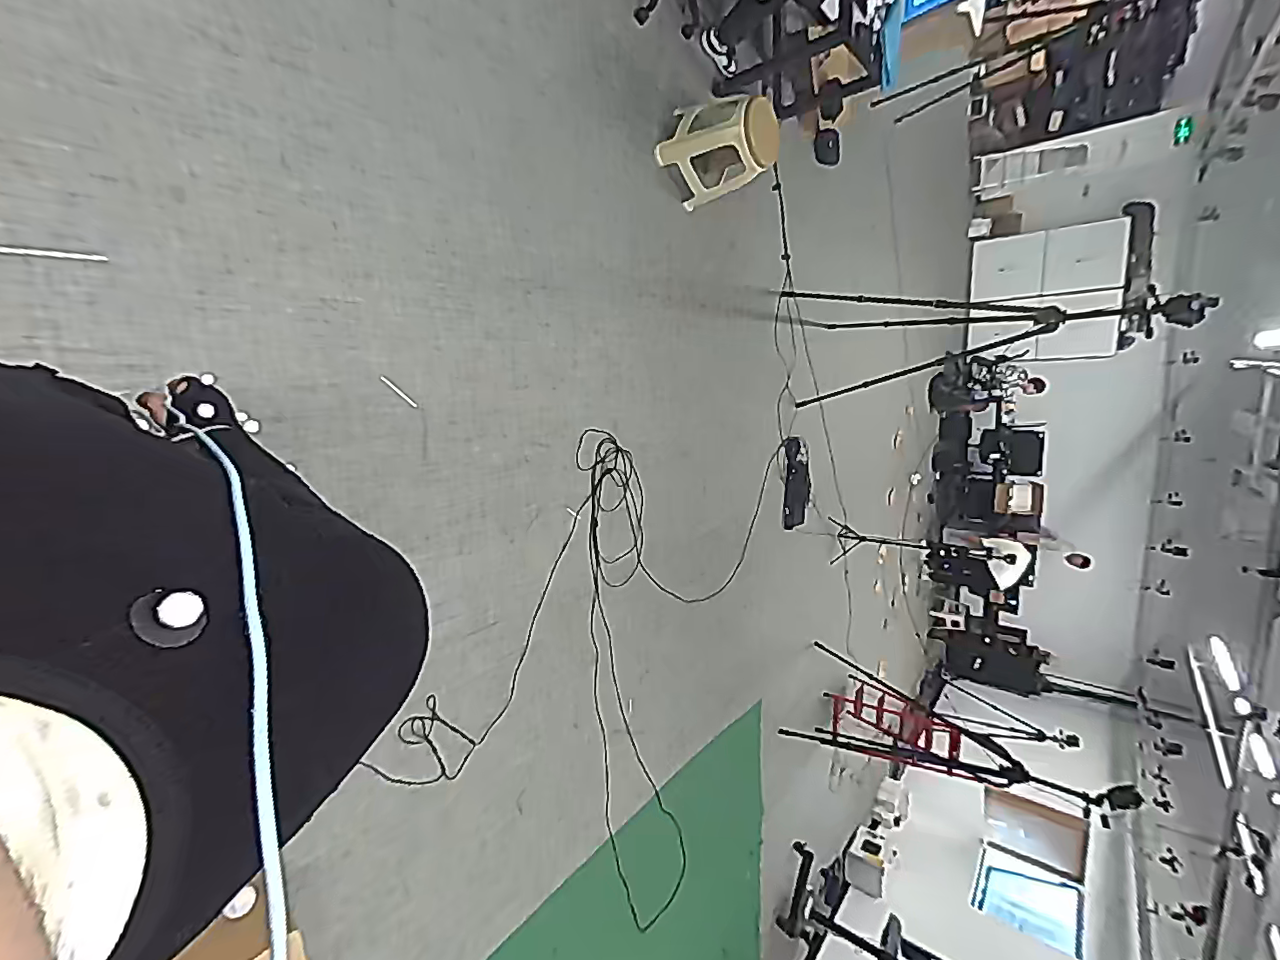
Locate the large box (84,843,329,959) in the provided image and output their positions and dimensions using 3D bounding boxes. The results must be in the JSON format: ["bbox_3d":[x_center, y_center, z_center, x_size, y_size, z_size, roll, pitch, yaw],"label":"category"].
[{"bbox_3d":[-1.029,1.215,1.314,0.408,0.320,0.320,-17,106,-47],"label":"large box"}]
